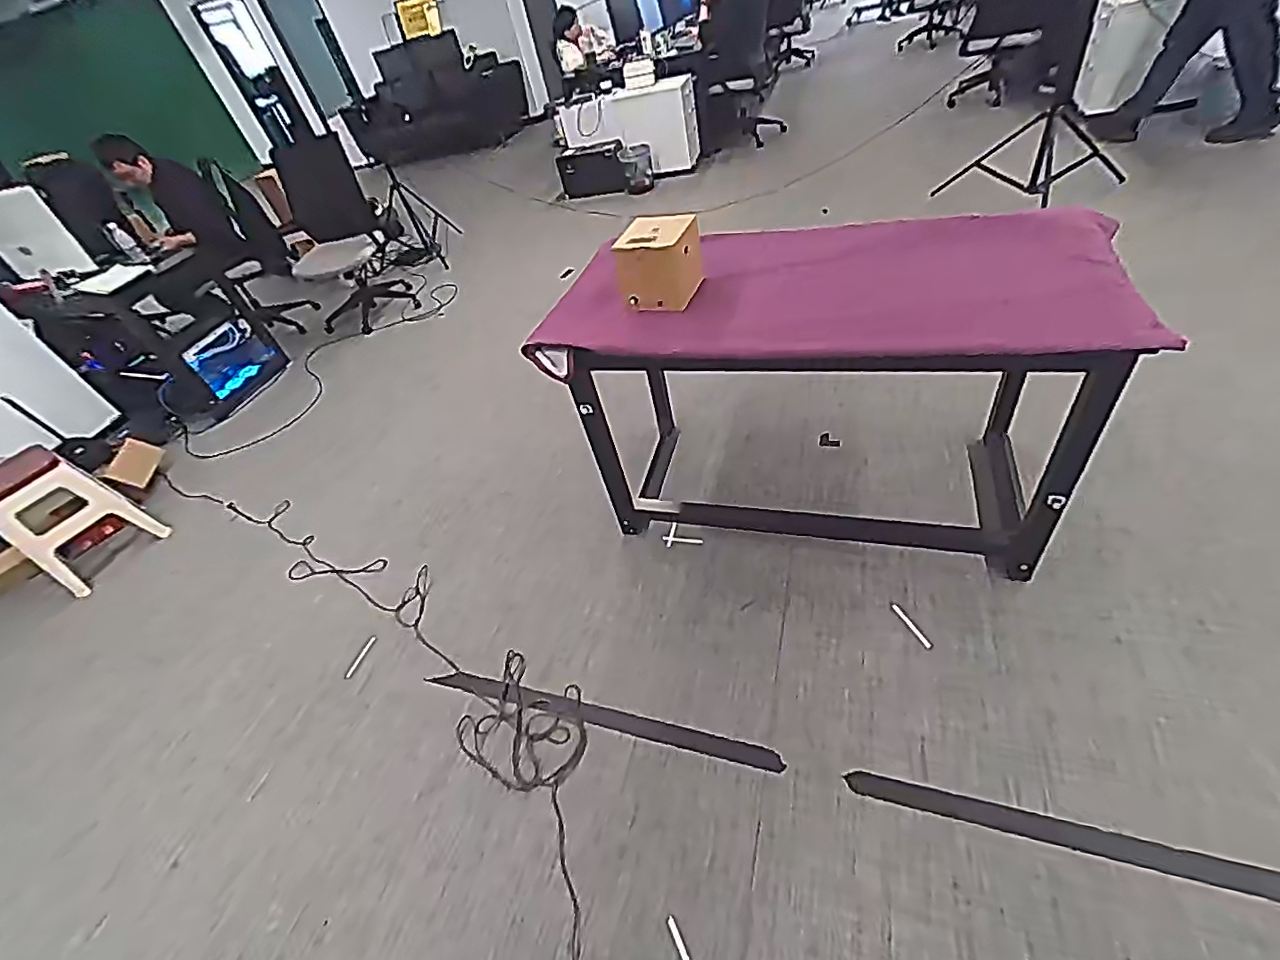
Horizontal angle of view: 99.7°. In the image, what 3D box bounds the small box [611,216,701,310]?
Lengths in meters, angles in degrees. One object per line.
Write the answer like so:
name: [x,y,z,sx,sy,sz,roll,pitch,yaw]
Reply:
small box: [0.049,-0.552,1.384,0.168,0.176,0.179,9,49,23]
